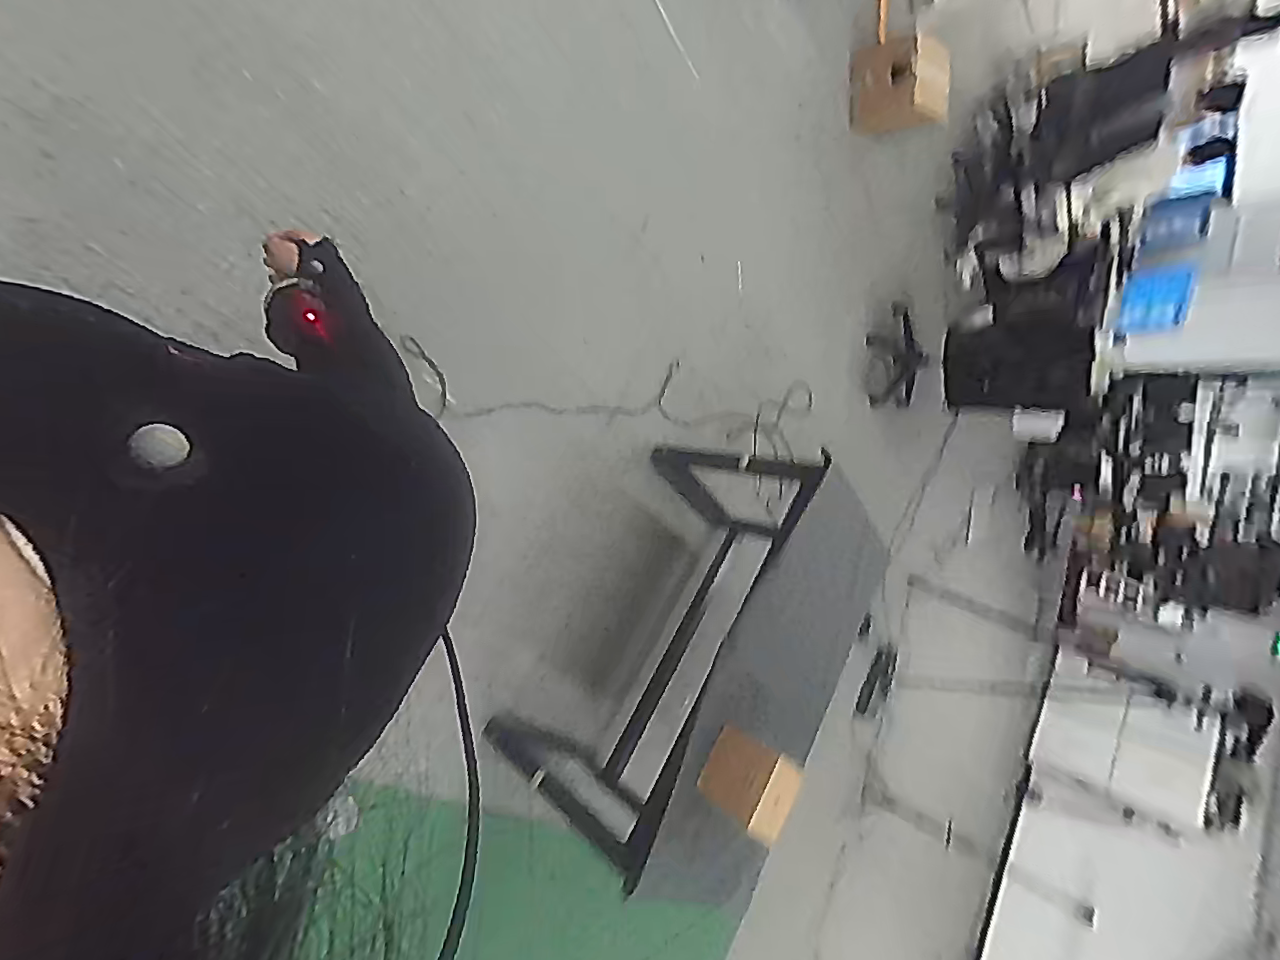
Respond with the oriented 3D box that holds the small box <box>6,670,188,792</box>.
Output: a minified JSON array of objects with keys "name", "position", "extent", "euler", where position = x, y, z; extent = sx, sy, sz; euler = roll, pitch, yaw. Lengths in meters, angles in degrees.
[{"name":"small box","position":[-1.012,0.487,1.024],"extent":[0.179,0.176,0.168],"euler":[46,66,-36]}]

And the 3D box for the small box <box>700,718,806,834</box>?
[{"name":"small box","position":[0.277,0.723,1.333],"extent":[0.168,0.176,0.179],"euler":[49,66,-37]}]

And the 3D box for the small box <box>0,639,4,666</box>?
[{"name":"small box","position":[-1.172,0.310,0.849],"extent":[0.168,0.176,0.179],"euler":[48,63,-38]}]
